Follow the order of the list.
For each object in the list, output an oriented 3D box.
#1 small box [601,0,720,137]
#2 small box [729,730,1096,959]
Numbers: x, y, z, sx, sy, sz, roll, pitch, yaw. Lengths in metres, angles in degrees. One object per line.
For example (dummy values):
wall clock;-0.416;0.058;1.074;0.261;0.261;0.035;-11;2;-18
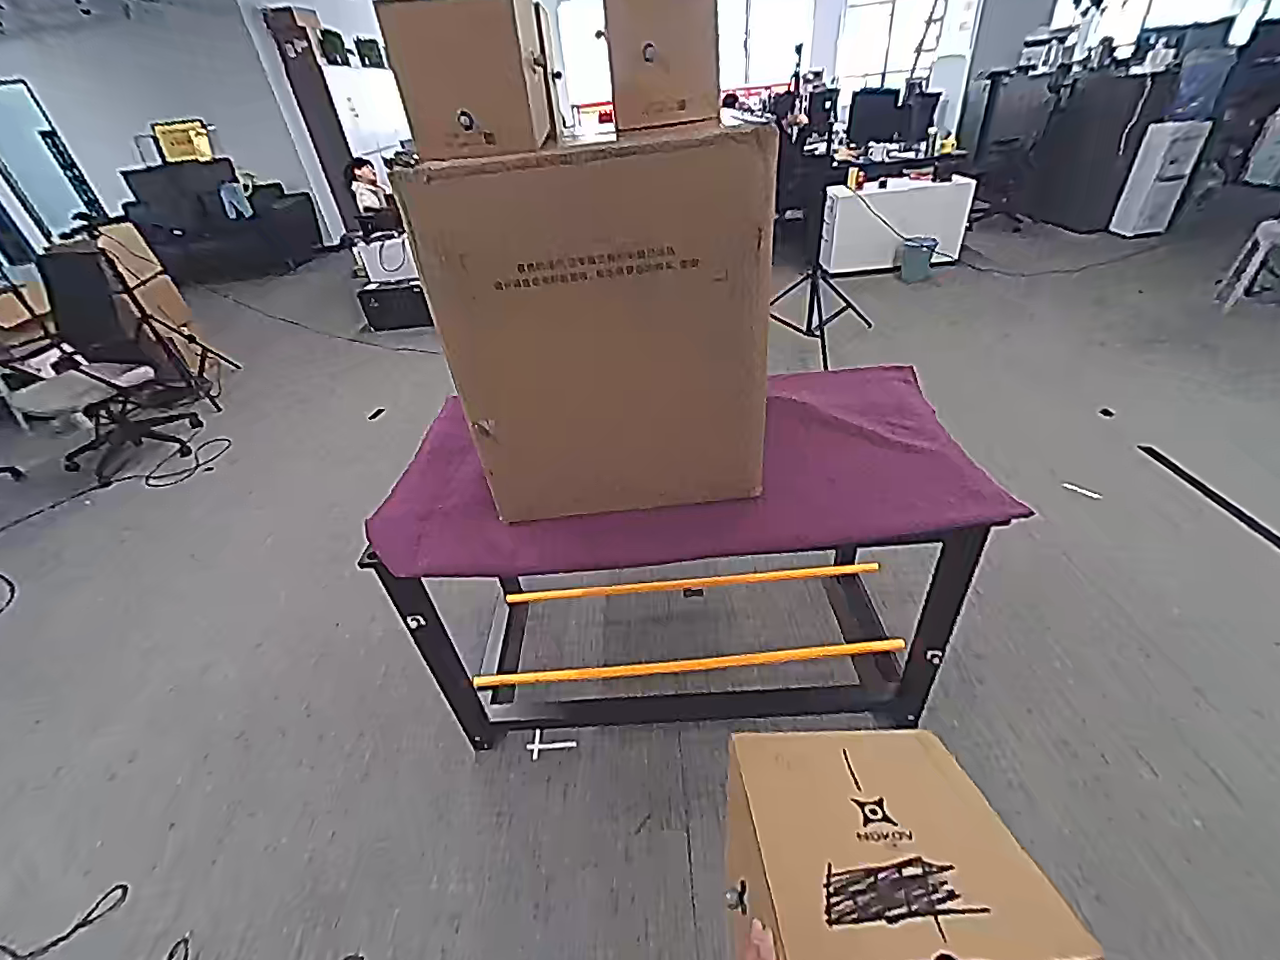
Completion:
small box;0.033;-0.658;0.864;0.168;0.176;0.179;-8;35;1
small box;0.156;0.305;0.374;0.168;0.176;0.179;-1;14;0
